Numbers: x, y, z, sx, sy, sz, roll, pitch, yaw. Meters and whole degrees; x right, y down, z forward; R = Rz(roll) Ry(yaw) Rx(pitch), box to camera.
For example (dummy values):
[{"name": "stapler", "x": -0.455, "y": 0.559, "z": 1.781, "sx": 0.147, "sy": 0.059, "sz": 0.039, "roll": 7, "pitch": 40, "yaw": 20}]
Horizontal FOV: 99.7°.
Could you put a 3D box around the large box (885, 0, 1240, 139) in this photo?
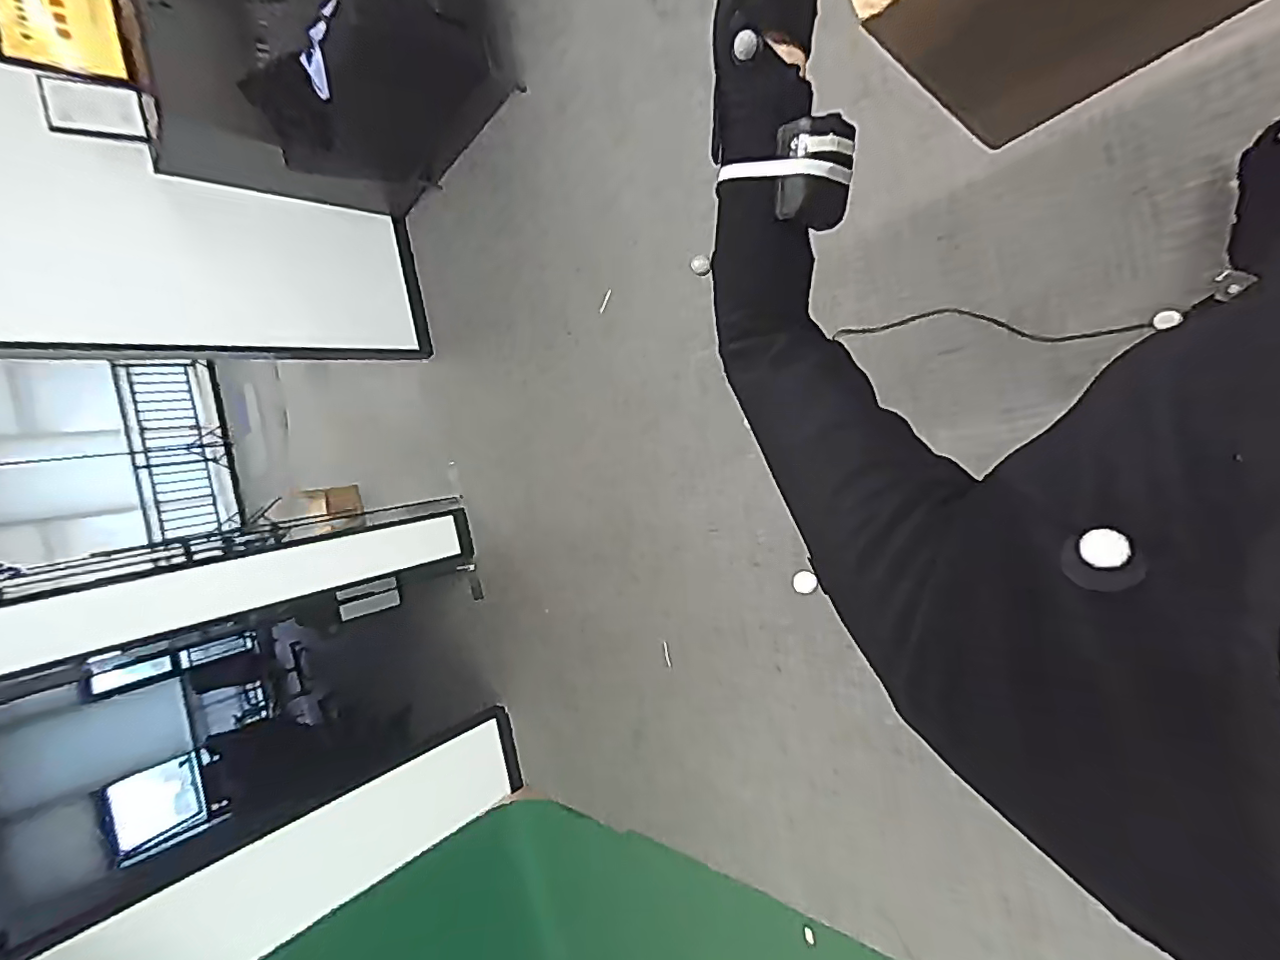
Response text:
[{"name": "large box", "x": 0.345, "y": -0.506, "z": 0.310, "sx": 0.408, "sy": 0.320, "sz": 0.320, "roll": -17, "pitch": 86, "yaw": 45}]
